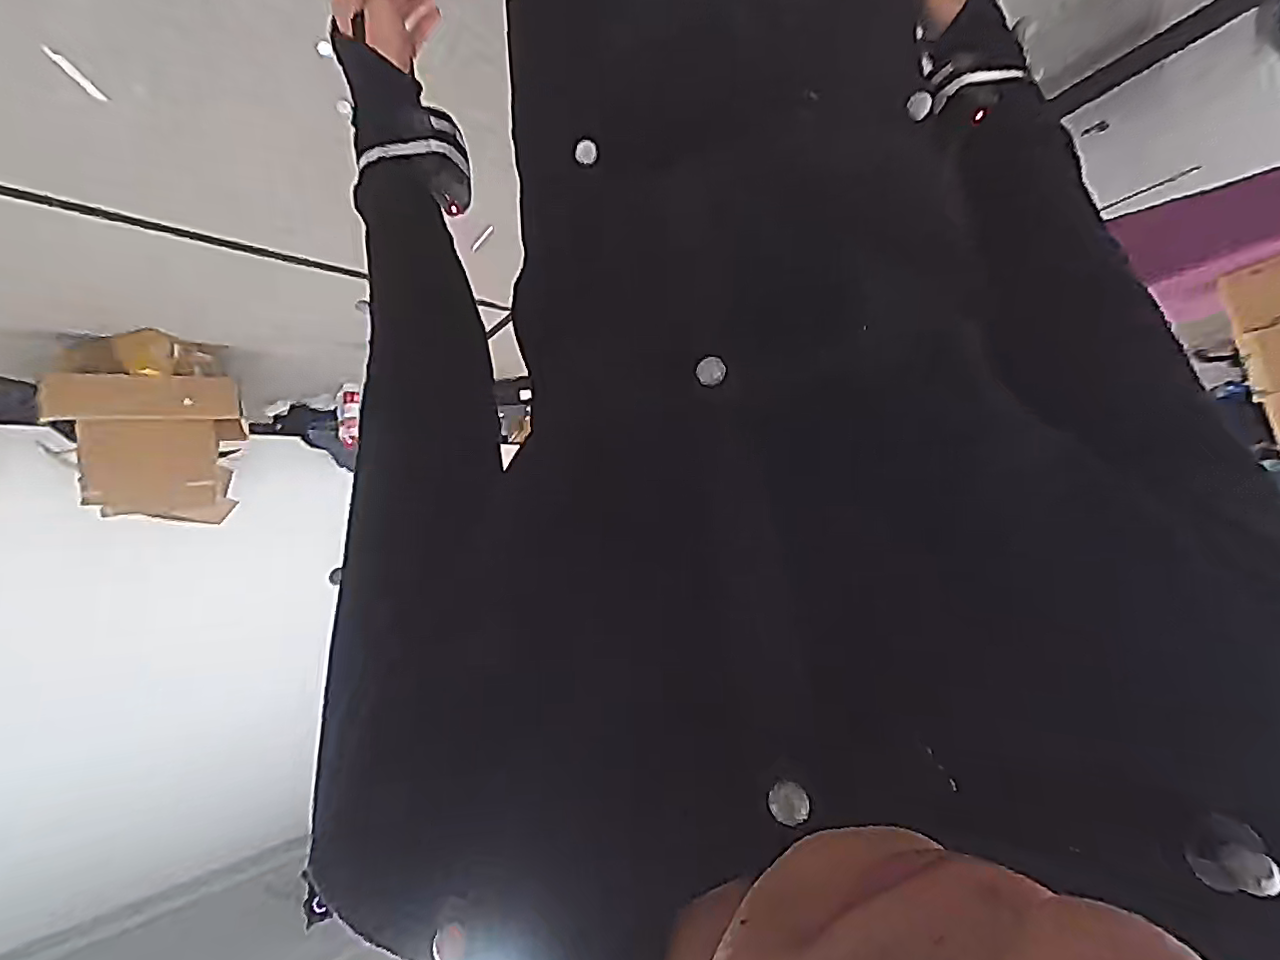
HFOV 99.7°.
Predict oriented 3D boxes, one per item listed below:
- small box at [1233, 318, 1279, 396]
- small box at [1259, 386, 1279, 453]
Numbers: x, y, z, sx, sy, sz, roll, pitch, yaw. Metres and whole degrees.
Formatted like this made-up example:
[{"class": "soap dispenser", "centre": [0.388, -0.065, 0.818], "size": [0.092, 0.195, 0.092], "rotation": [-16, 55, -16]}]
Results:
[{"class": "small box", "centre": [1.686, -0.332, 1.385], "size": [0.179, 0.176, 0.168], "rotation": [-16, 169, 38]}, {"class": "small box", "centre": [1.708, -0.173, 1.358], "size": [0.179, 0.176, 0.168], "rotation": [-2, 168, -44]}]
